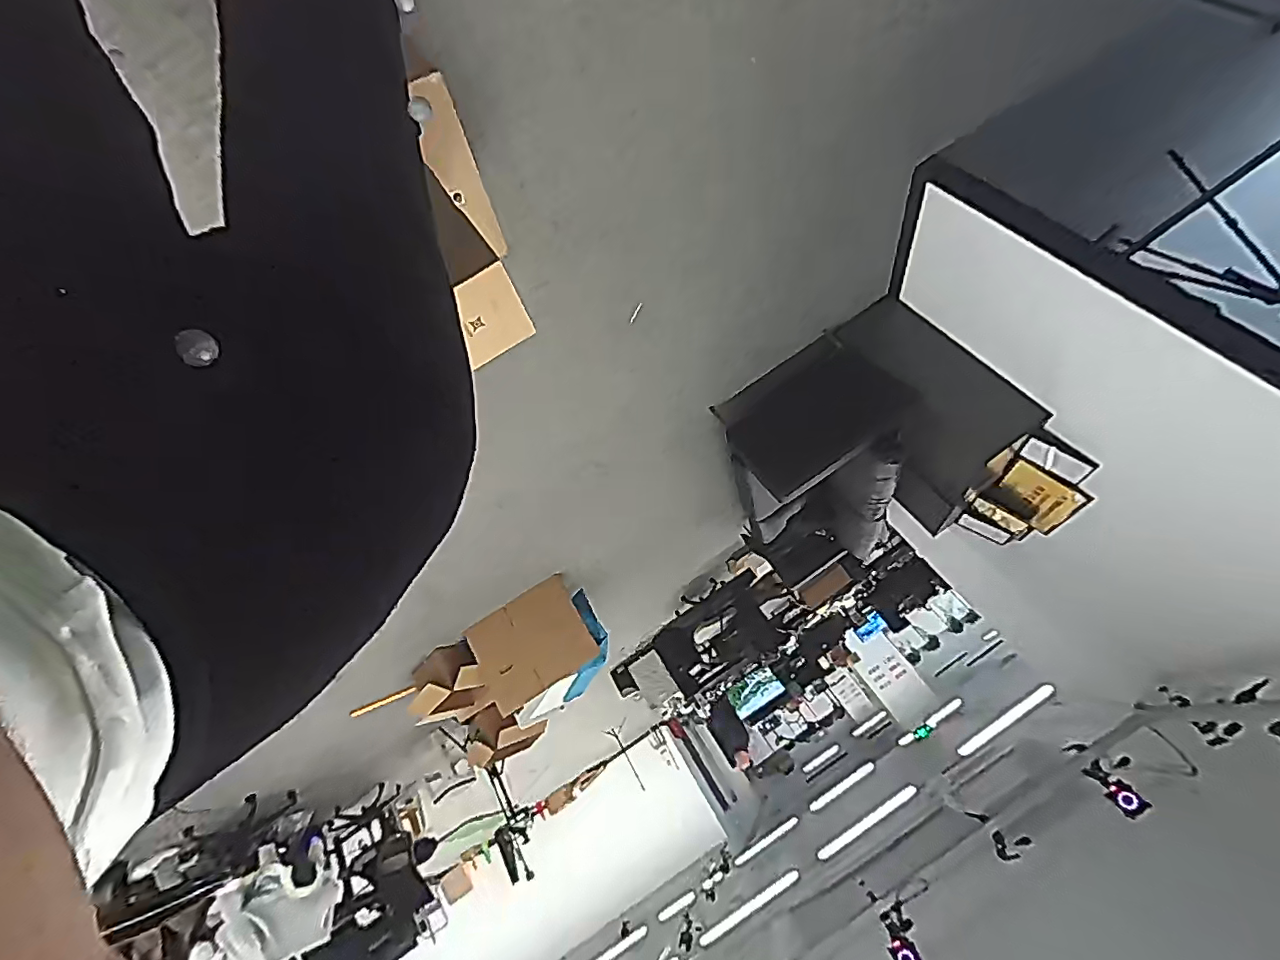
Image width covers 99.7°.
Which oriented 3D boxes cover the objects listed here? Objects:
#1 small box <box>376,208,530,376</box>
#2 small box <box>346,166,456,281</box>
[{"bbox_3d":[-0.321,-0.319,0.921,0.179,0.176,0.168,-33,153,-7],"label":"small box"},{"bbox_3d":[-0.410,-0.433,0.996,0.179,0.176,0.168,-33,152,-7],"label":"small box"}]
